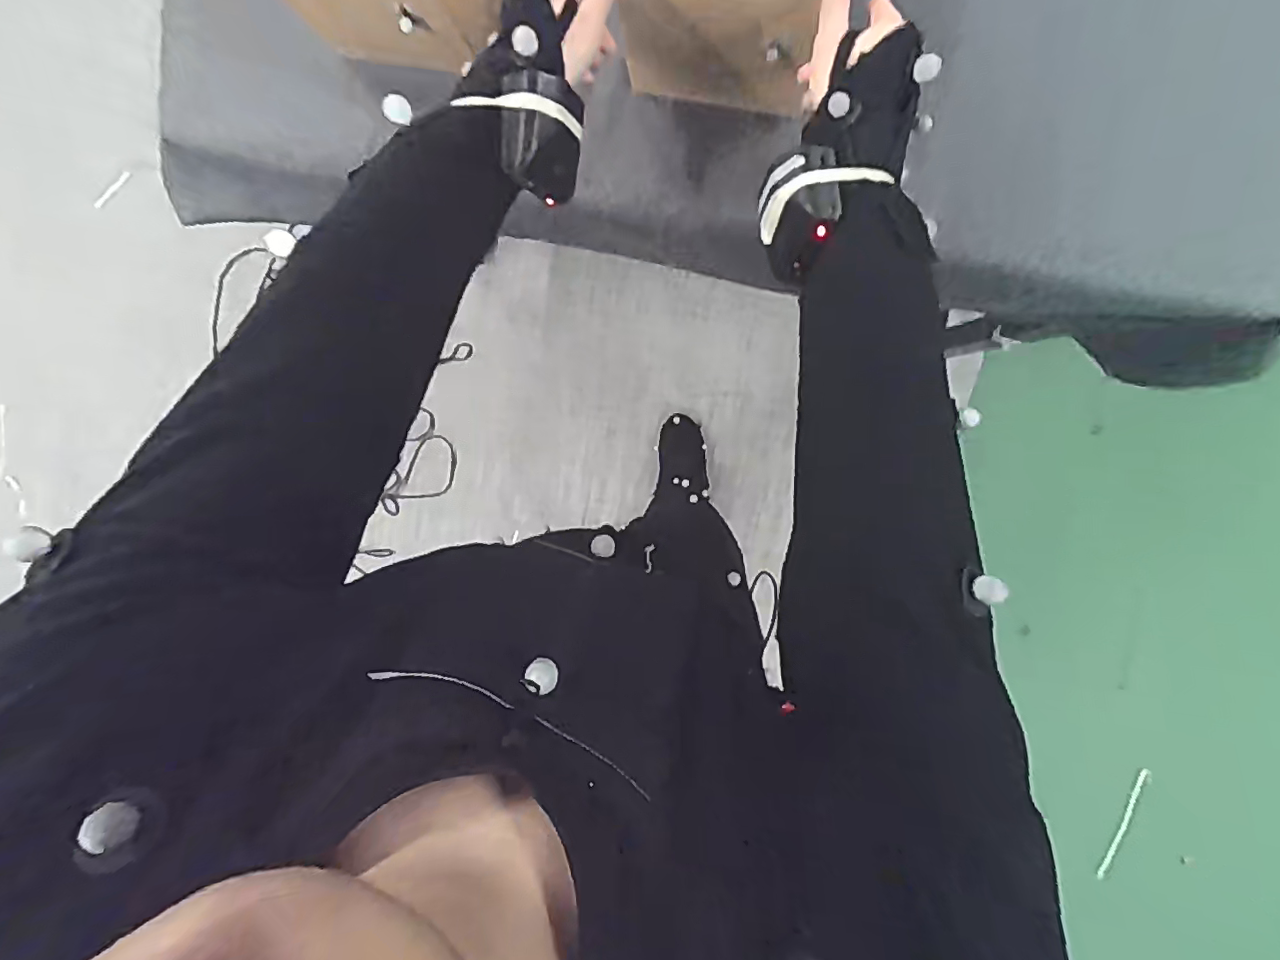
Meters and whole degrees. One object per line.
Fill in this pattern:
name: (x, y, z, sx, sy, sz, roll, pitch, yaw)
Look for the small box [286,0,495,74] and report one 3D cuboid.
small box: (-0.233, -0.507, 0.485, 0.179, 0.176, 0.168, 11, 98, 5)
